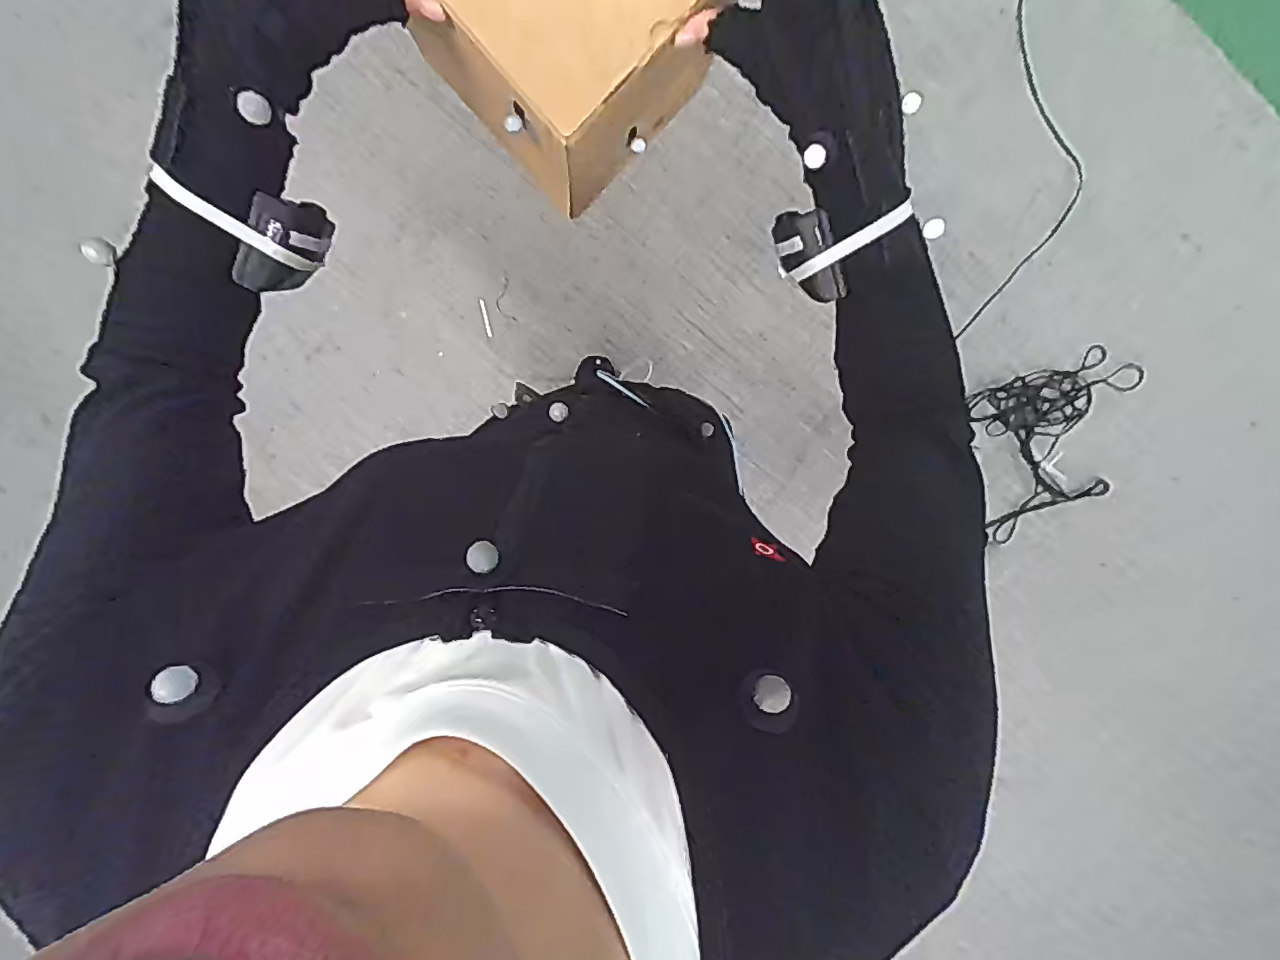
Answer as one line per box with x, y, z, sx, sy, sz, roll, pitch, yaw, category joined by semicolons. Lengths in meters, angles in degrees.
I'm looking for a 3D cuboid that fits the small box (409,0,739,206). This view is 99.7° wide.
-0.053;-0.337;0.387;0.168;0.176;0.179;-44;103;3;small box
